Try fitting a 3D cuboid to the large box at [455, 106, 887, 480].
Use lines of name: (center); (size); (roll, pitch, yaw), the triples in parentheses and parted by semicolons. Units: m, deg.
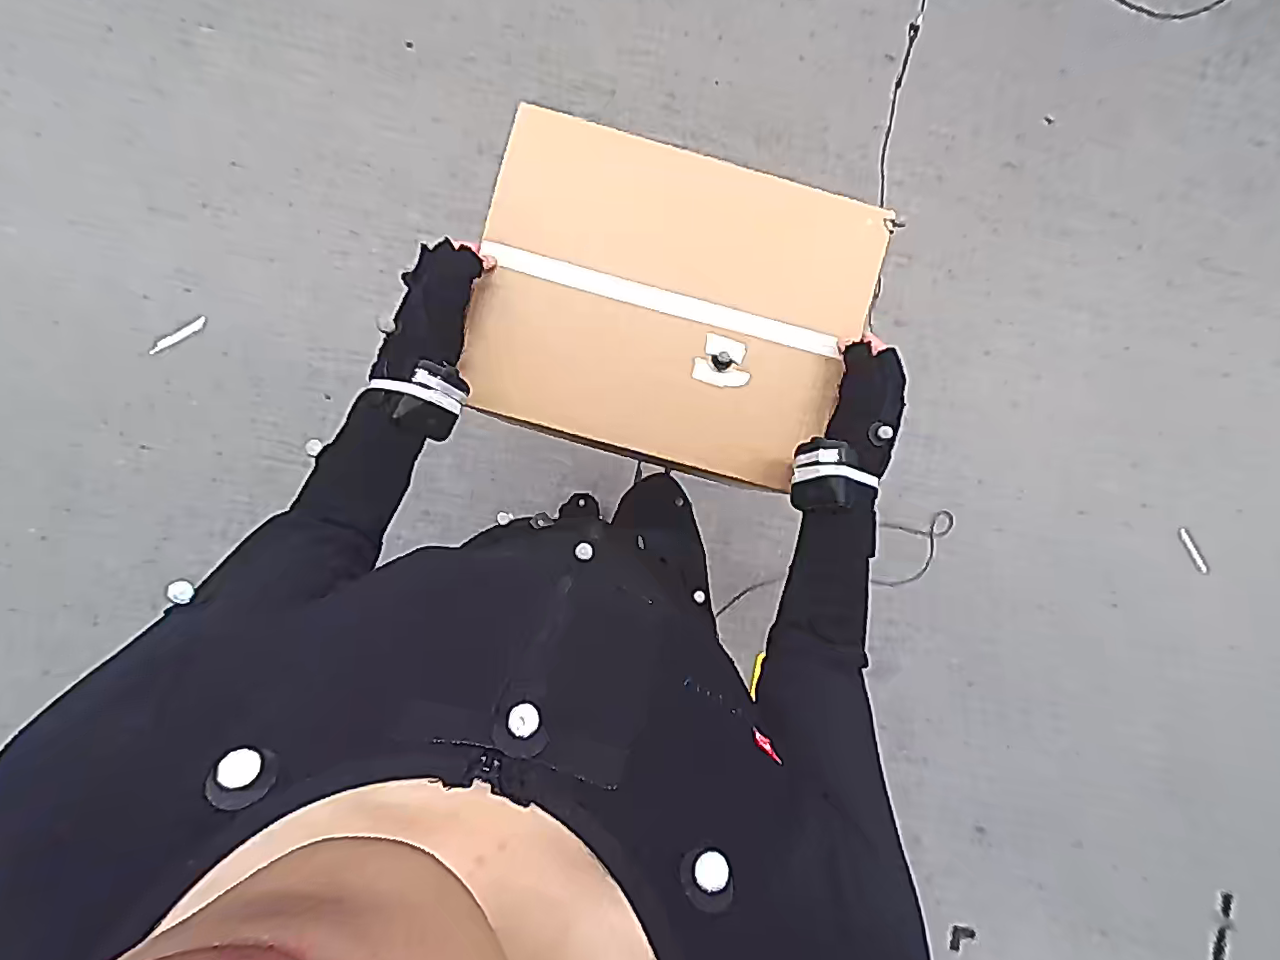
large box: (0.027, -0.195, 0.713); (0.408, 0.320, 0.320); (15, 91, -2)
